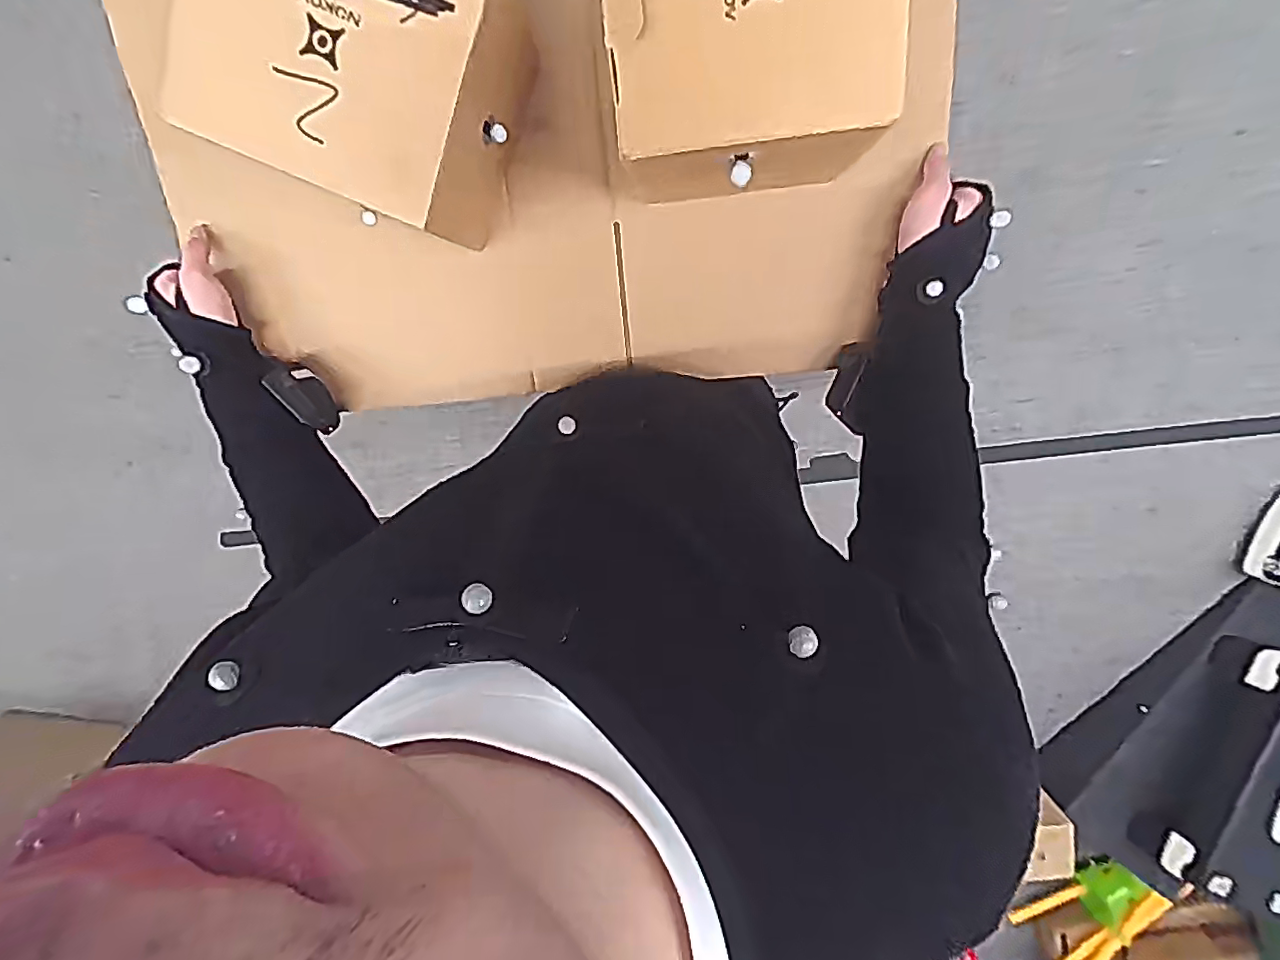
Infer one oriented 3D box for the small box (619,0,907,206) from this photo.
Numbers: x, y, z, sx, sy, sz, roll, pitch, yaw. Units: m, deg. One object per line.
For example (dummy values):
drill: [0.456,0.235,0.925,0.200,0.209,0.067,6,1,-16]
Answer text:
small box: [0.082,-0.316,0.406,0.179,0.176,0.168,-3,107,8]
